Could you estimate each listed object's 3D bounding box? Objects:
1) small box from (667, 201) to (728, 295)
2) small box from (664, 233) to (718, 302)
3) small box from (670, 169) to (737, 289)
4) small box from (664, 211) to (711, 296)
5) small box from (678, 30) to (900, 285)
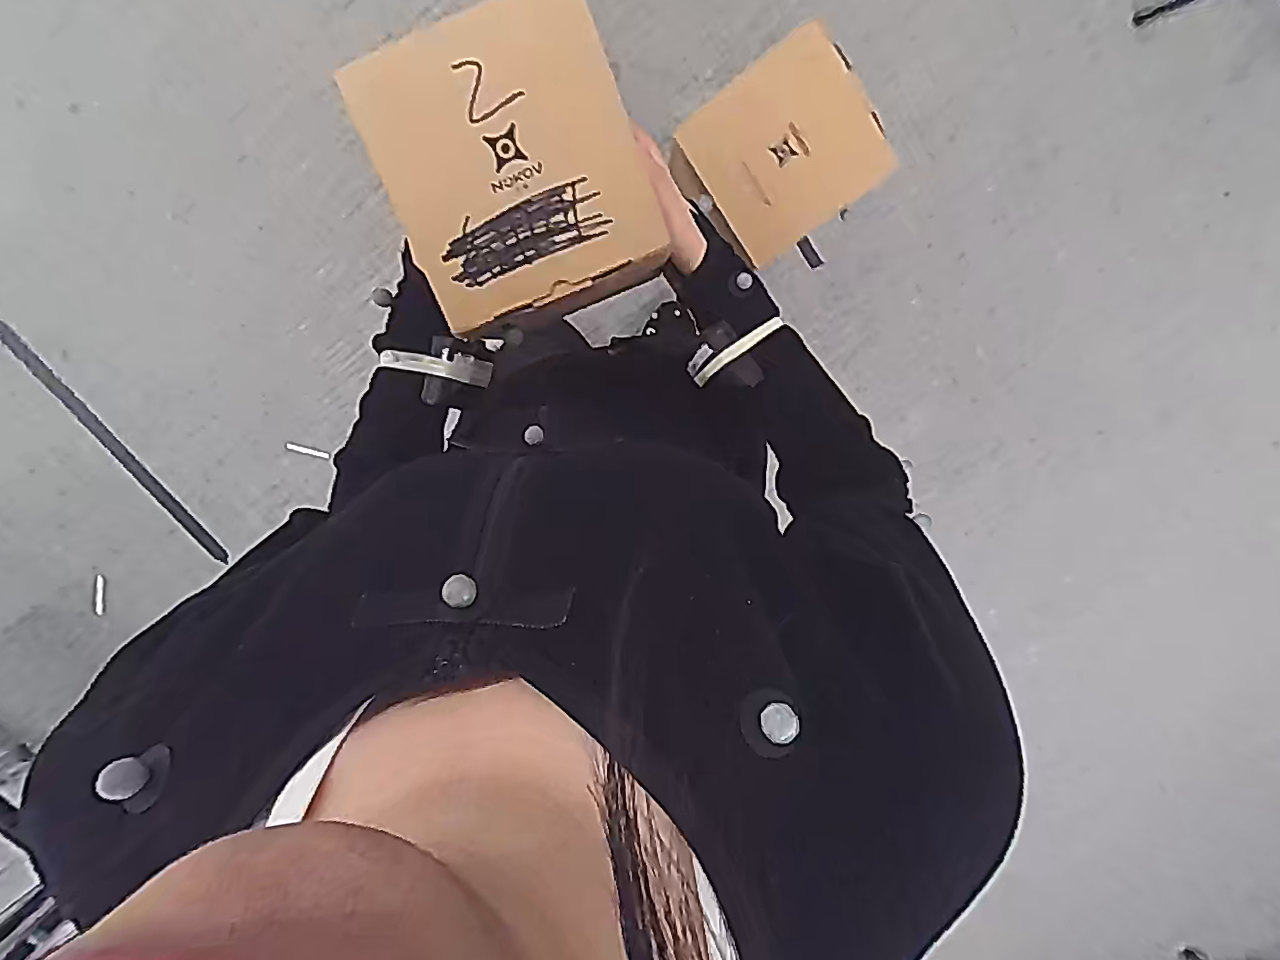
[{"bbox_3d":[0.162,-0.440,0.944,0.179,0.176,0.168,-31,103,11],"label":"small box"},{"bbox_3d":[0.169,-0.535,1.257,0.168,0.176,0.179,-33,103,11],"label":"small box"},{"bbox_3d":[0.158,-0.397,0.785,0.179,0.176,0.168,-32,103,9],"label":"small box"},{"bbox_3d":[0.159,-0.492,1.099,0.168,0.176,0.179,-31,103,11],"label":"small box"},{"bbox_3d":[0.156,-0.350,0.630,0.179,0.176,0.168,-34,102,12],"label":"small box"}]
